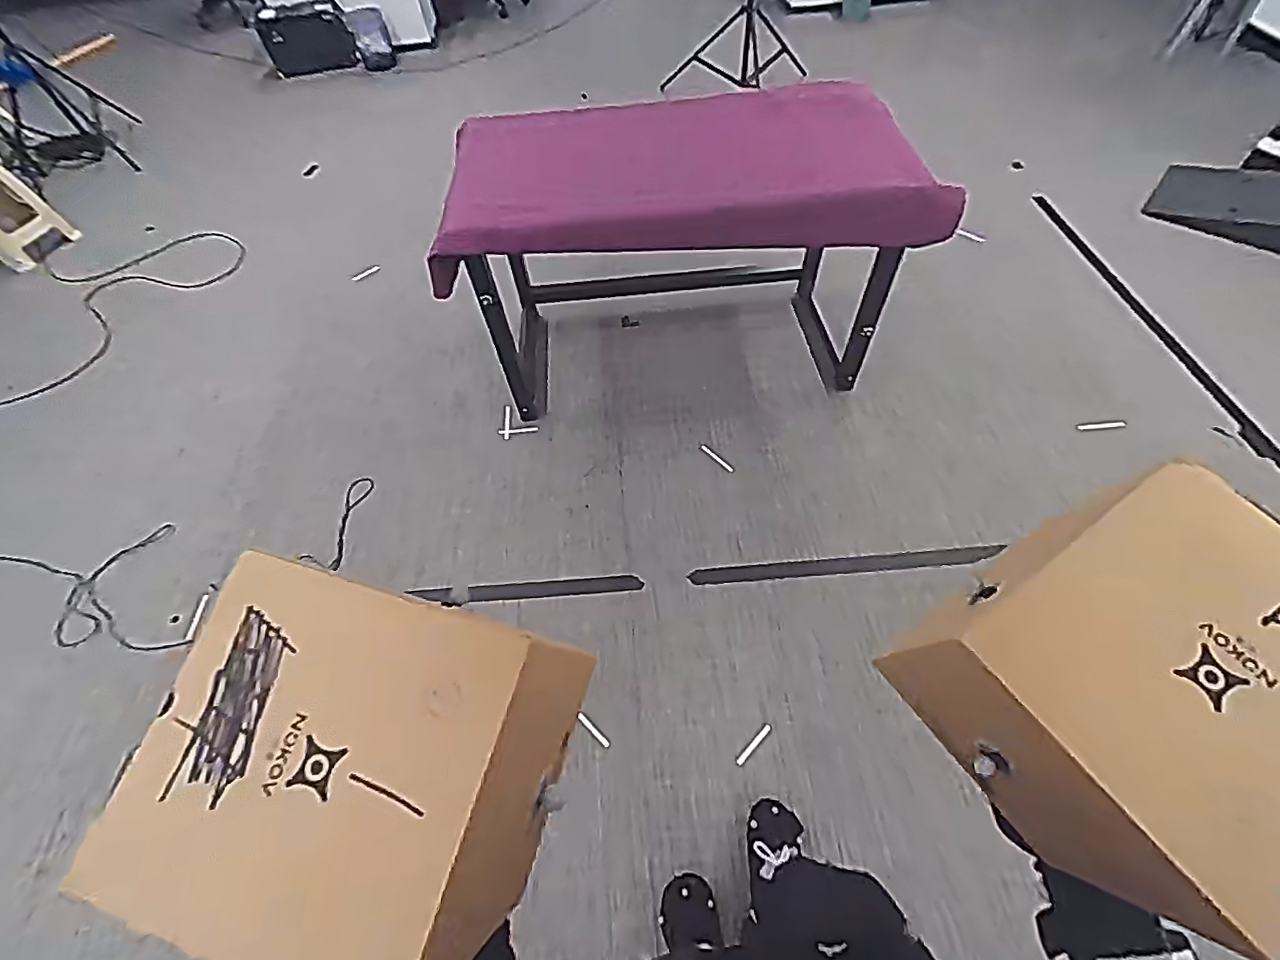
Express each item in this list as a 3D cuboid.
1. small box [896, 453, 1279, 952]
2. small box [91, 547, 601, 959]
[{"bbox_3d":[0.291,0.121,0.337,0.179,0.176,0.168,-35,68,-8],"label":"small box"},{"bbox_3d":[-0.140,0.158,0.330,0.179,0.176,0.168,14,72,11],"label":"small box"}]
